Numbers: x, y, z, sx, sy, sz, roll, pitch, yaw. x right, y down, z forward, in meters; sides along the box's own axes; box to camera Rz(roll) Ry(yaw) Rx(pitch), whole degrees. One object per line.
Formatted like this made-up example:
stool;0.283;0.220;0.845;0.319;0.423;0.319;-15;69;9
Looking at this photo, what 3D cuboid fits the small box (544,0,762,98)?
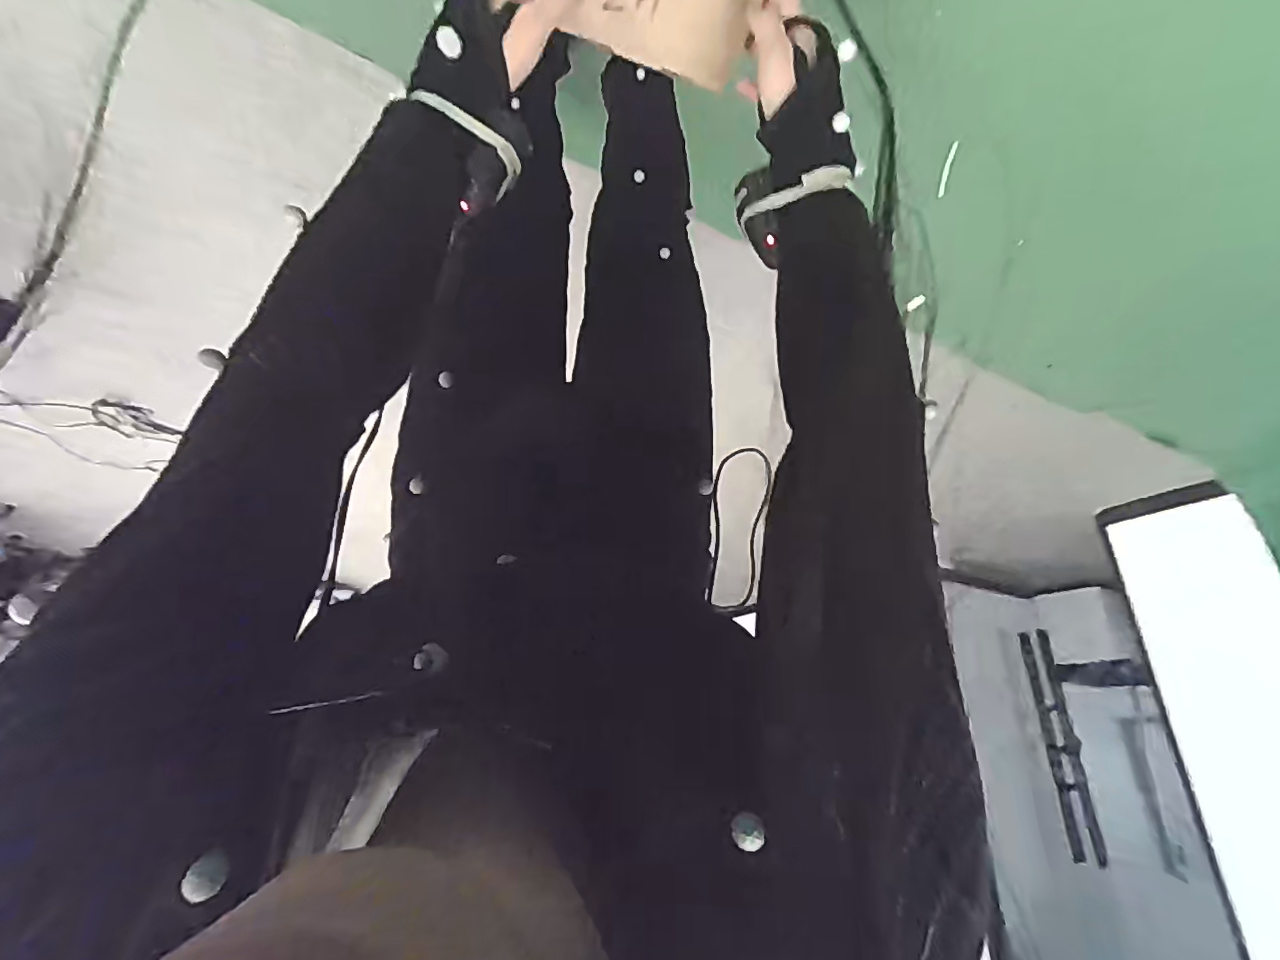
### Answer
small box;0.021;-0.467;0.440;0.168;0.176;0.179;8;146;-17
